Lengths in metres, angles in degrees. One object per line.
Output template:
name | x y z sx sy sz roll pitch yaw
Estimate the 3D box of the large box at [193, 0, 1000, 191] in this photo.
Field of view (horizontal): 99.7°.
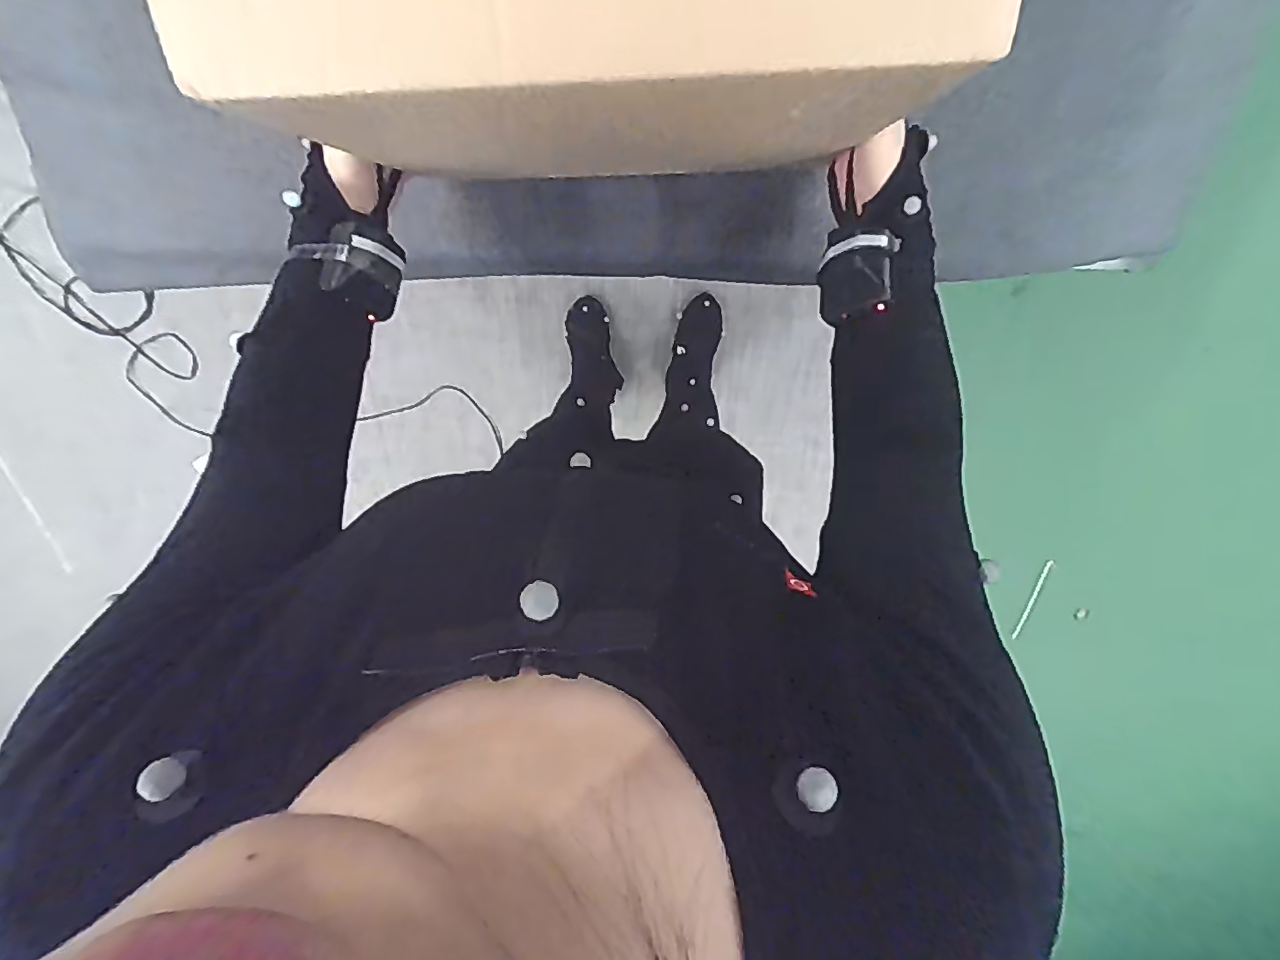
large box | -0.028 -0.399 0.364 0.408 0.320 0.320 -2 112 2
